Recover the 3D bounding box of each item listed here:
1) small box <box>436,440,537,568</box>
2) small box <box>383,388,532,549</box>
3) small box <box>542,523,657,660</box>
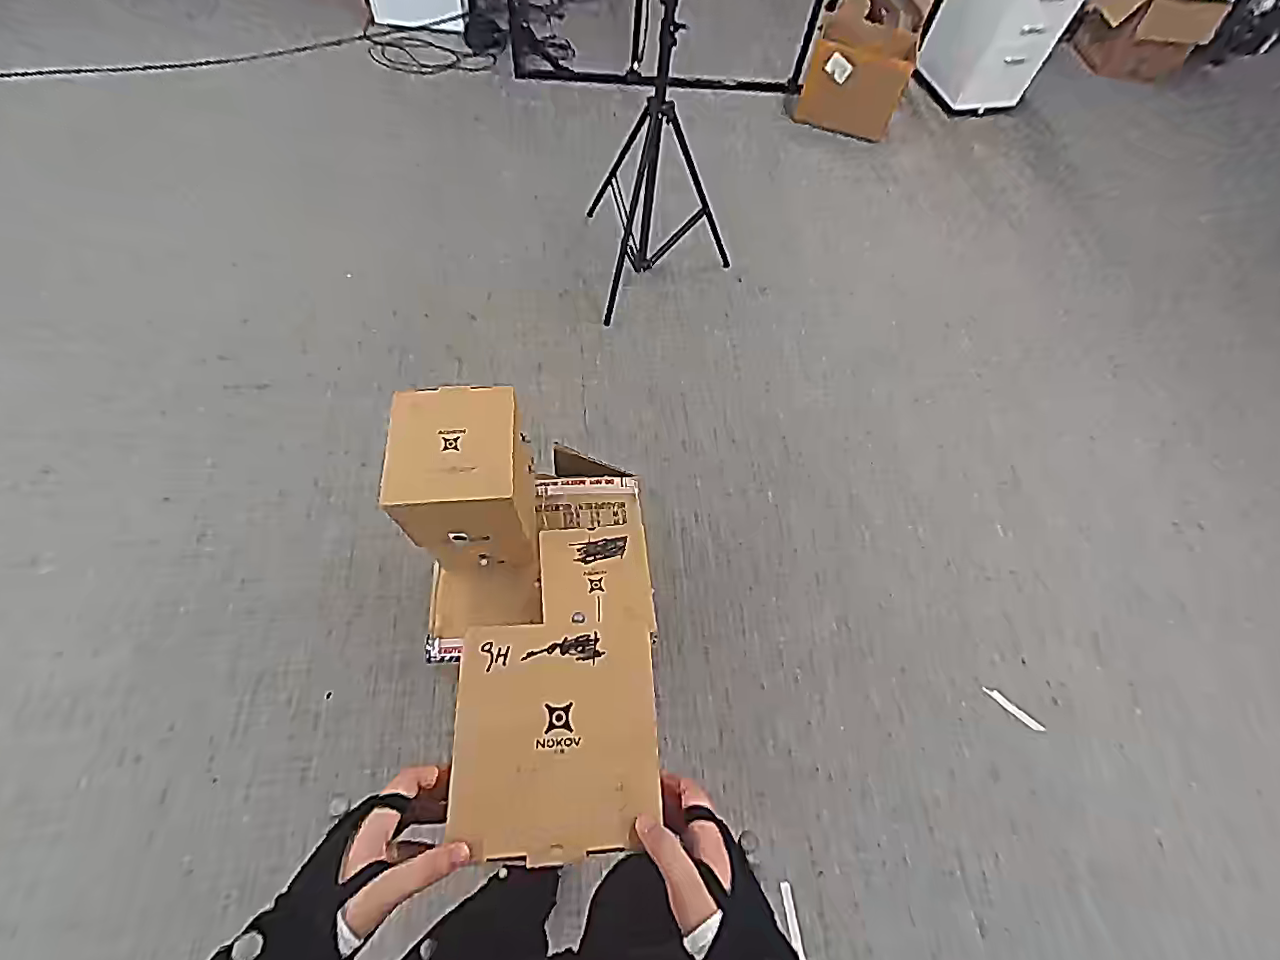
[{"bbox_3d":[-0.271,0.041,0.939,0.168,0.176,0.179,-3,64,-6],"label":"small box"},{"bbox_3d":[-0.251,-0.013,0.785,0.168,0.176,0.179,-4,65,-5],"label":"small box"},{"bbox_3d":[-0.072,0.185,0.885,0.168,0.176,0.179,-4,65,-8],"label":"small box"}]
